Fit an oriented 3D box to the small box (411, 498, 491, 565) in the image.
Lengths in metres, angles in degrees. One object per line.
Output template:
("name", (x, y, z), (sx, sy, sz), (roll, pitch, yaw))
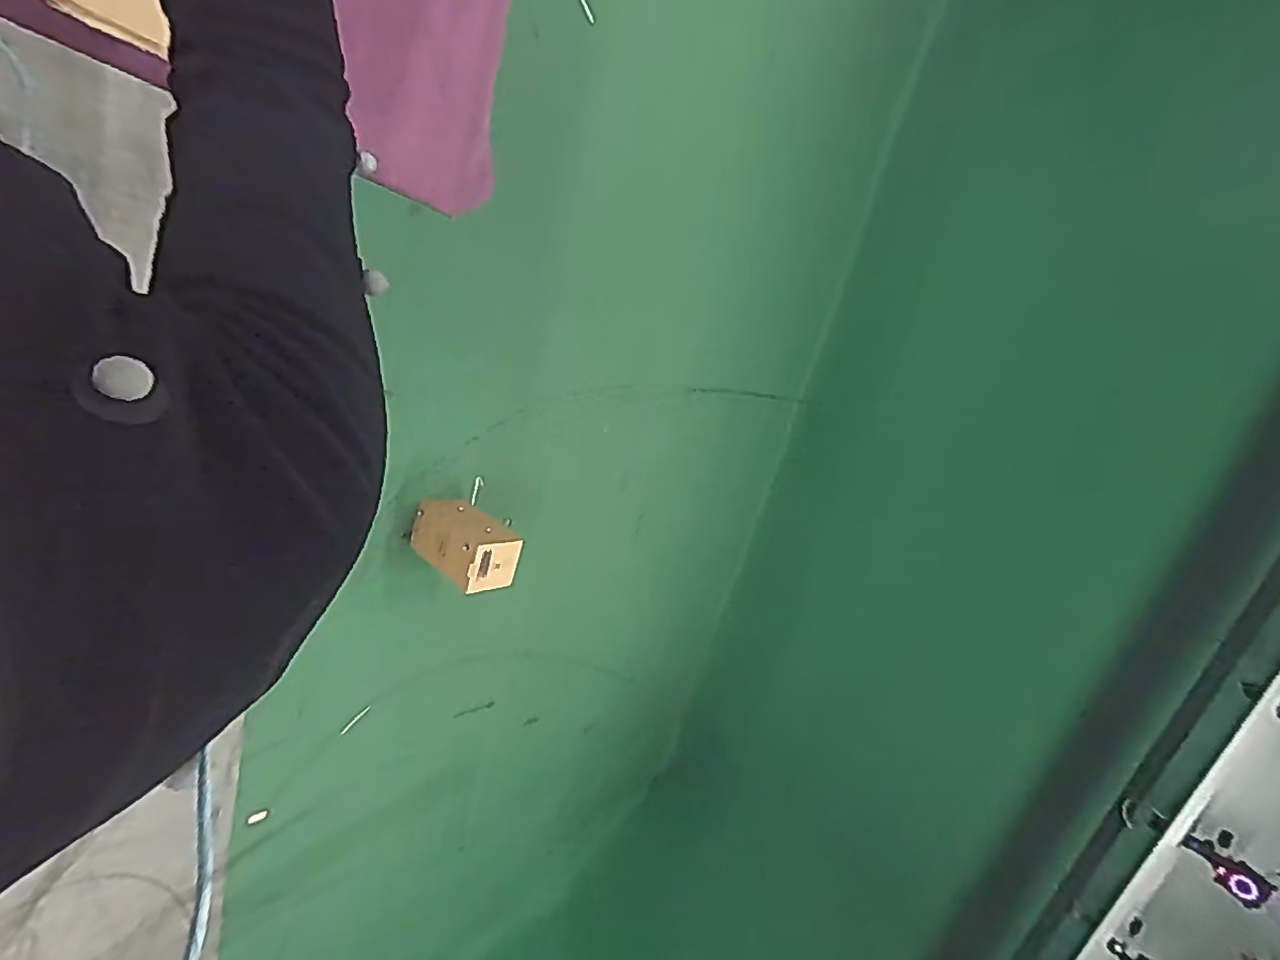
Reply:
("small box", (-0.635, 0.168, 1.805), (0.179, 0.176, 0.168), (0, 112, -54))
